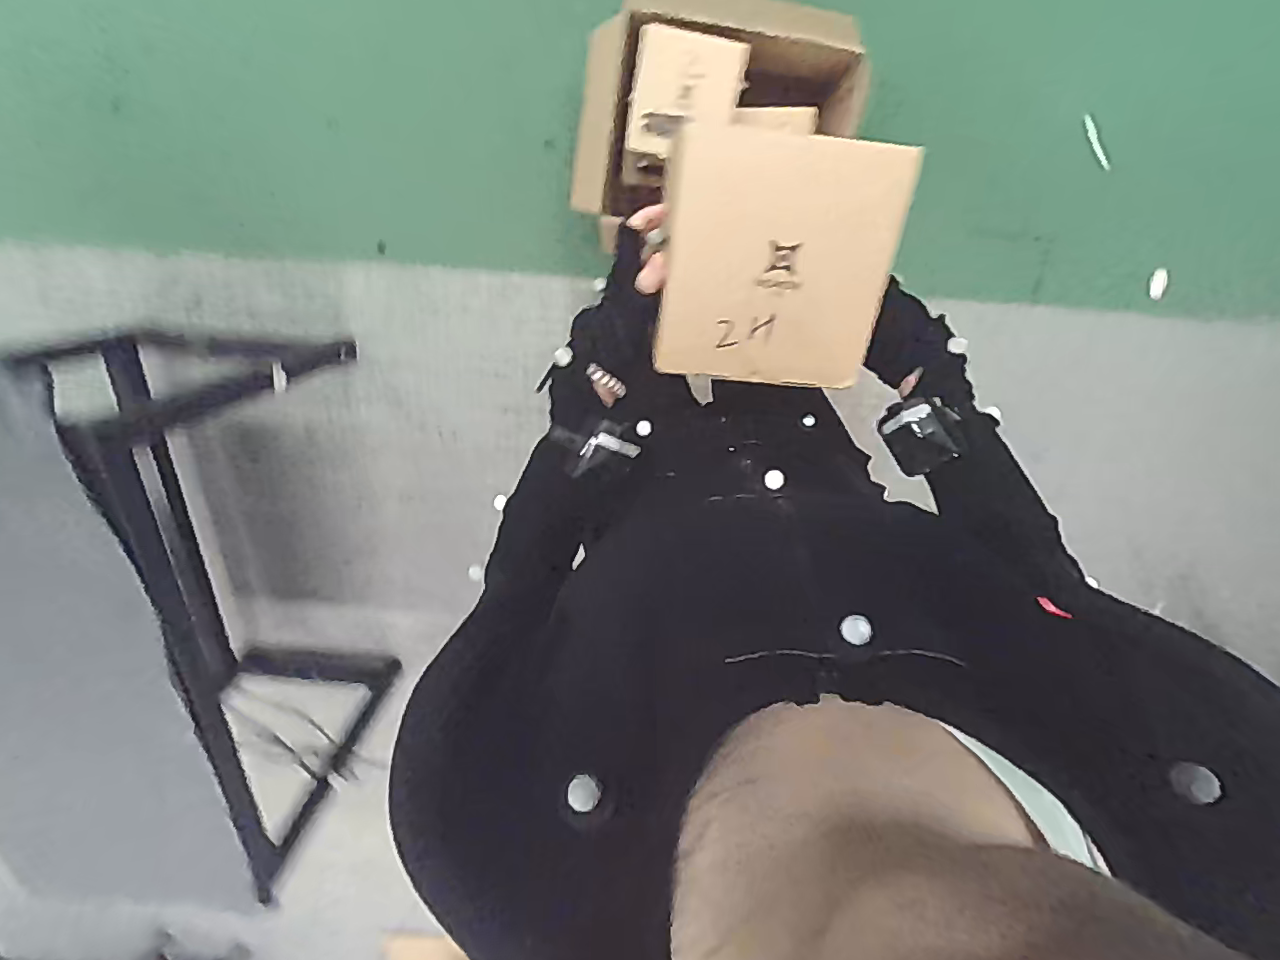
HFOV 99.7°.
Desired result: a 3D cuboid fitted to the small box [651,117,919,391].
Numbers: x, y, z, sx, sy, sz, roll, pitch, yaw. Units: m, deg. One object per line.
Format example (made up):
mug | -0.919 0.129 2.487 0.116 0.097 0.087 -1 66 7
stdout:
small box | 0.101 -0.192 0.473 0.168 0.176 0.179 5 116 -3
